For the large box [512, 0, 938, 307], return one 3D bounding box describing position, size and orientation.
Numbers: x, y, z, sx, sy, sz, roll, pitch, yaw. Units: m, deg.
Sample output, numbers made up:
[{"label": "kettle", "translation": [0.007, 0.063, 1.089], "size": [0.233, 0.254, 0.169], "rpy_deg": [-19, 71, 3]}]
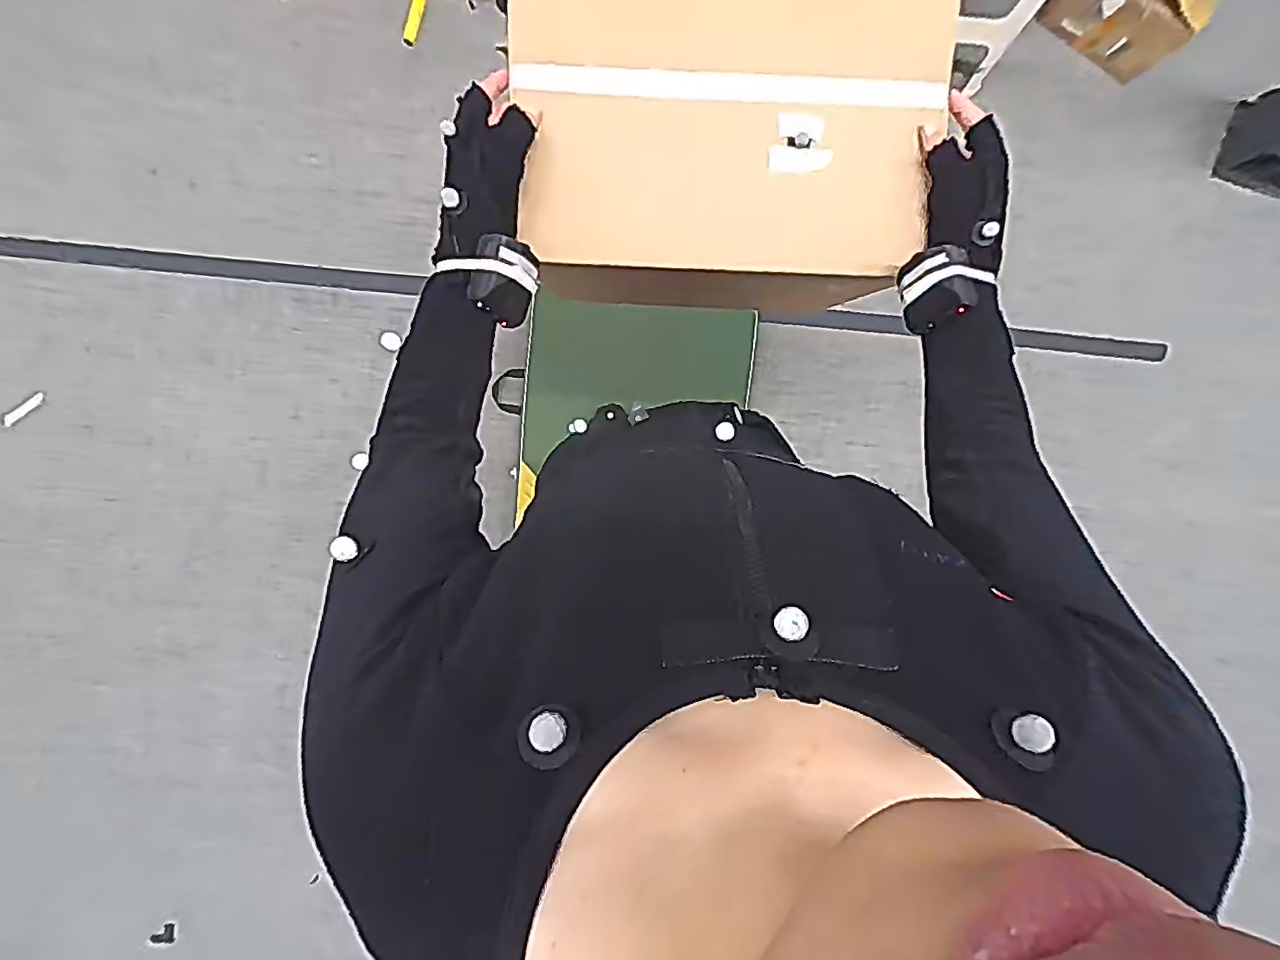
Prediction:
[{"label": "large box", "translation": [0.073, -0.393, 0.661], "size": [0.408, 0.320, 0.320], "rpy_deg": [1, 101, -2]}]
